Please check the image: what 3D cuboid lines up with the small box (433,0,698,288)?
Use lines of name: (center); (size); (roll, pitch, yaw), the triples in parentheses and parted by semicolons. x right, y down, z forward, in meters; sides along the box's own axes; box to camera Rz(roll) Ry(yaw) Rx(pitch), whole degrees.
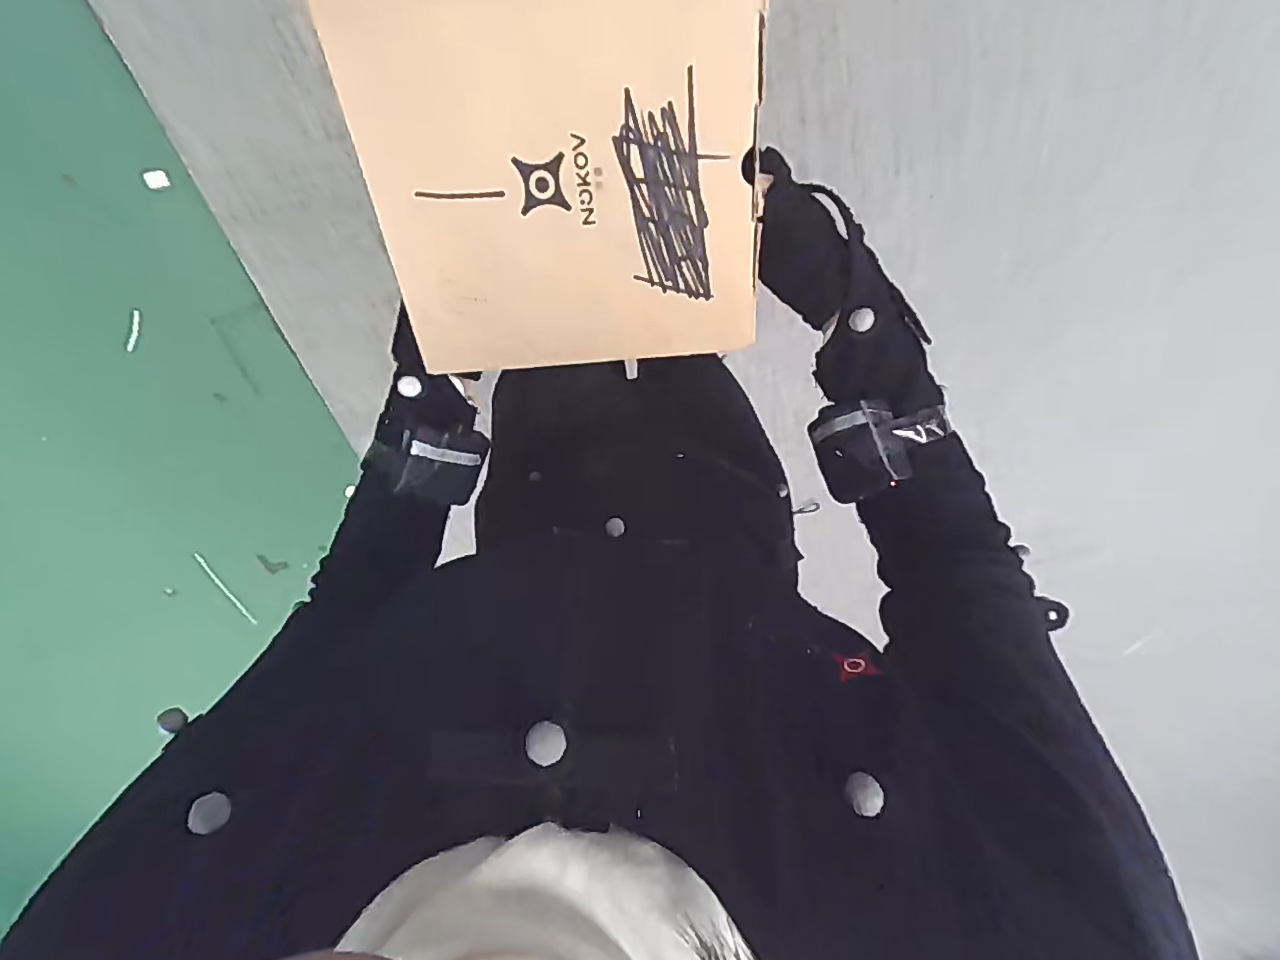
small box: (-0.040, -0.276, 0.451); (0.168, 0.176, 0.179); (-5, 122, 5)
